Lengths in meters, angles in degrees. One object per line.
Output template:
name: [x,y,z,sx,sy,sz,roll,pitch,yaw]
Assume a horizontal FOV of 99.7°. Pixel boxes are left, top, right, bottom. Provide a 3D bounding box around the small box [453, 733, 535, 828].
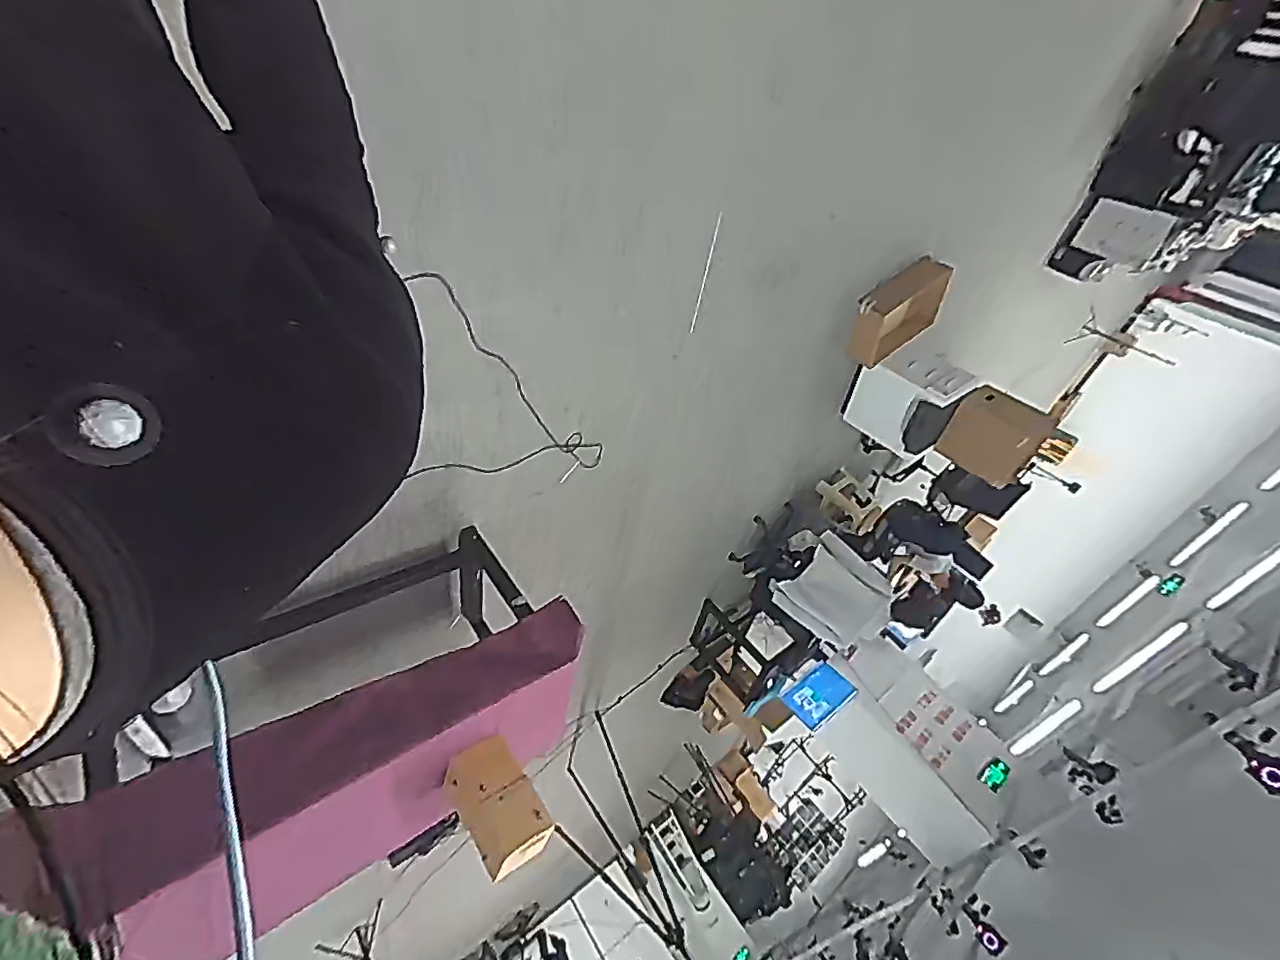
small box: [-0.462,0.937,1.702,0.179,0.176,0.168,-10,132,-42]
